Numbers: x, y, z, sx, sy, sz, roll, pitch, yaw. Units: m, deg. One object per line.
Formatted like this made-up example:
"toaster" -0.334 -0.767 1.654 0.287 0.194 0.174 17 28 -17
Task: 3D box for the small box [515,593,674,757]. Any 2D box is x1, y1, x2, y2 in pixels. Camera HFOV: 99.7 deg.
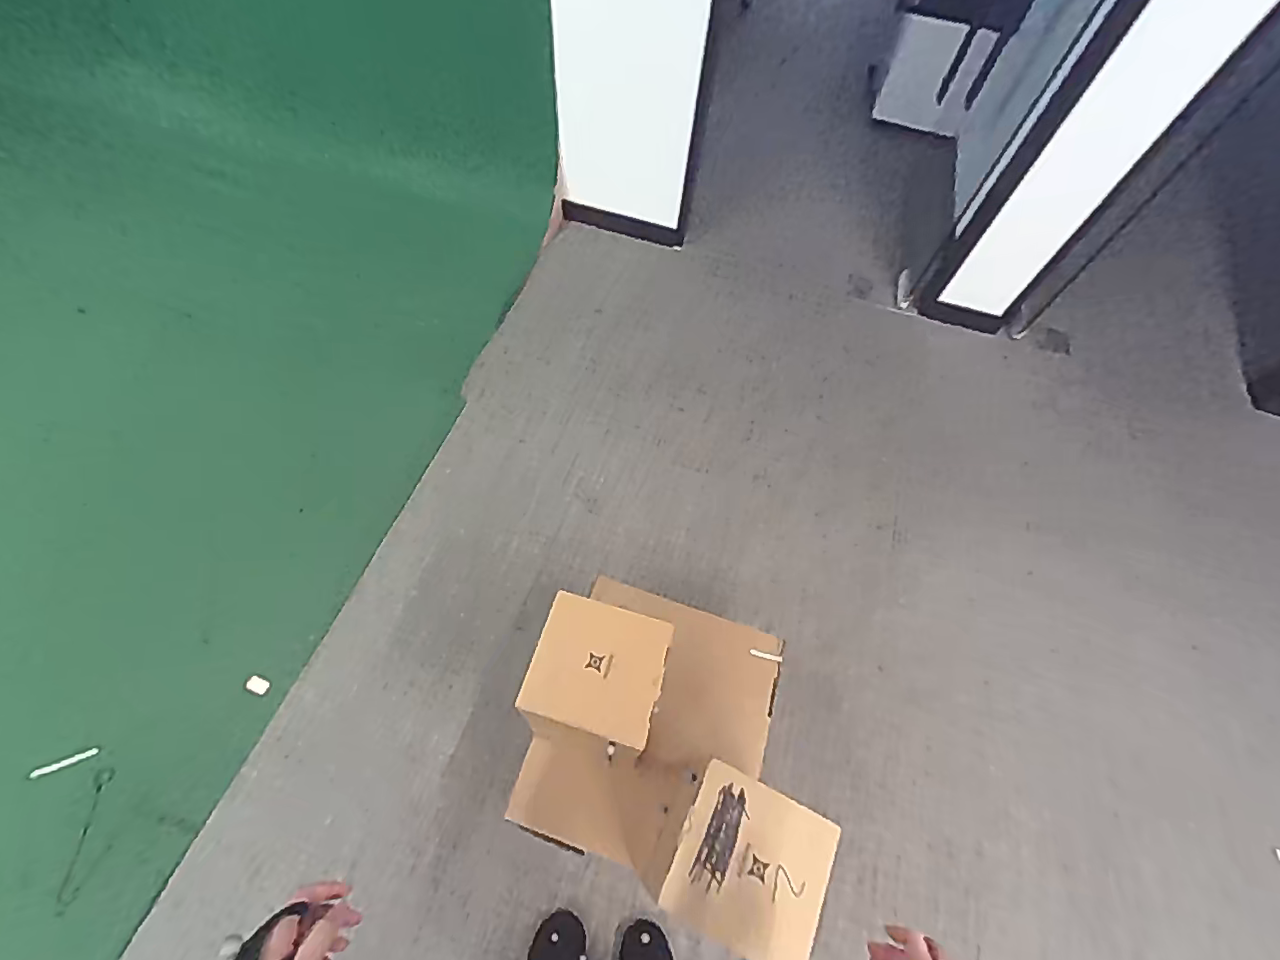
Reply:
"small box" -0.063 0.293 0.795 0.179 0.176 0.168 17 58 4

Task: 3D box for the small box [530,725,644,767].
"small box" -0.071 0.382 0.932 0.179 0.176 0.168 15 58 5

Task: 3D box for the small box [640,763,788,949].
"small box" 0.106 0.566 0.837 0.168 0.176 0.179 21 60 7
